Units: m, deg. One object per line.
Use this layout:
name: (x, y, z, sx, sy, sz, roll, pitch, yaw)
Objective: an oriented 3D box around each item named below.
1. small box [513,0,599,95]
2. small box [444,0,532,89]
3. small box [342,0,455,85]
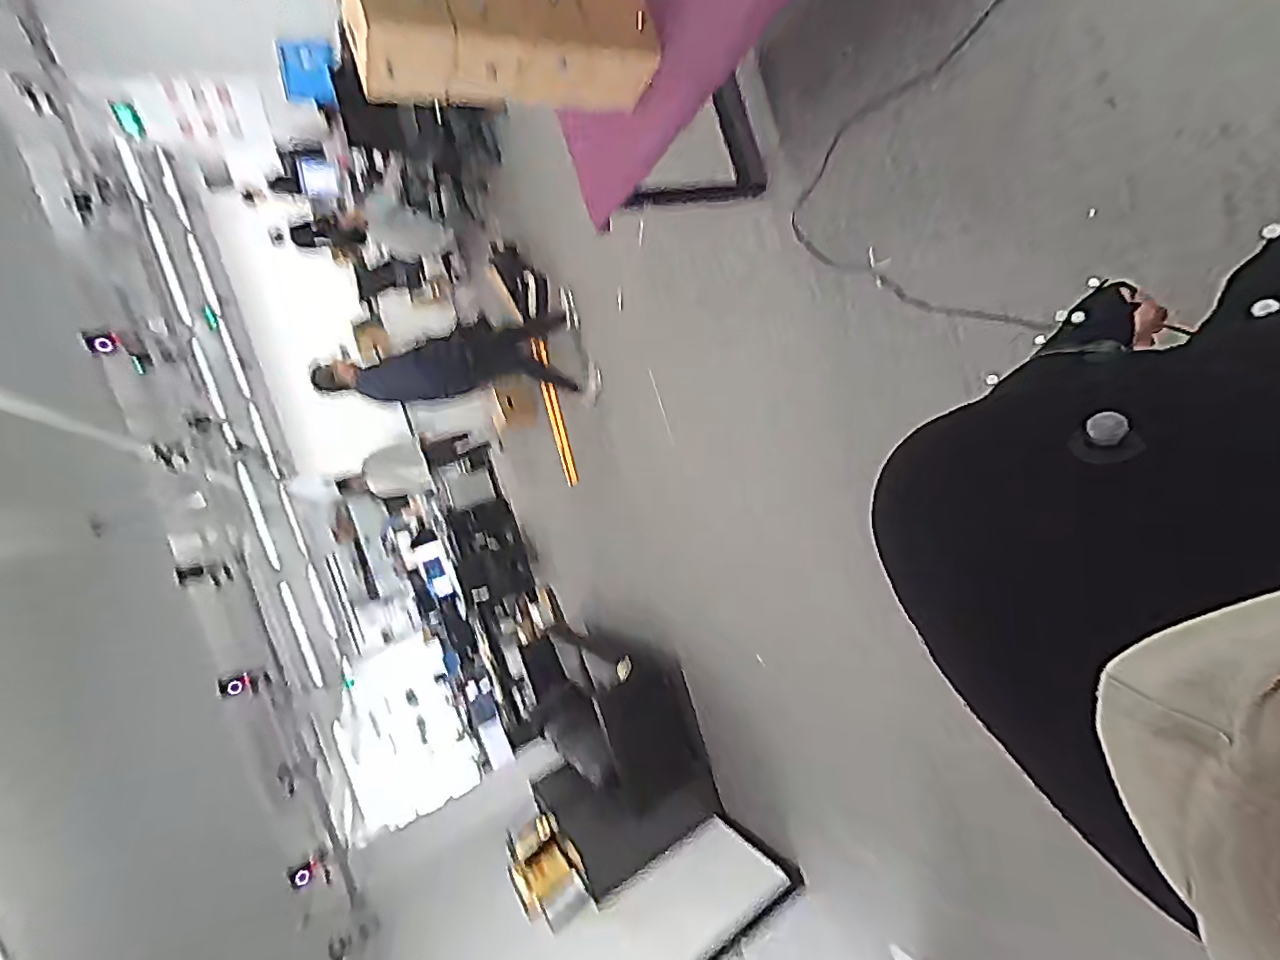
small box: (-0.209, -1.022, 1.237, 0.179, 0.176, 0.168, -11, 97, 62)
small box: (-0.348, -0.982, 1.161, 0.168, 0.176, 0.179, -13, 95, 62)
small box: (-0.484, -0.932, 1.083, 0.179, 0.176, 0.168, -14, 94, 61)
